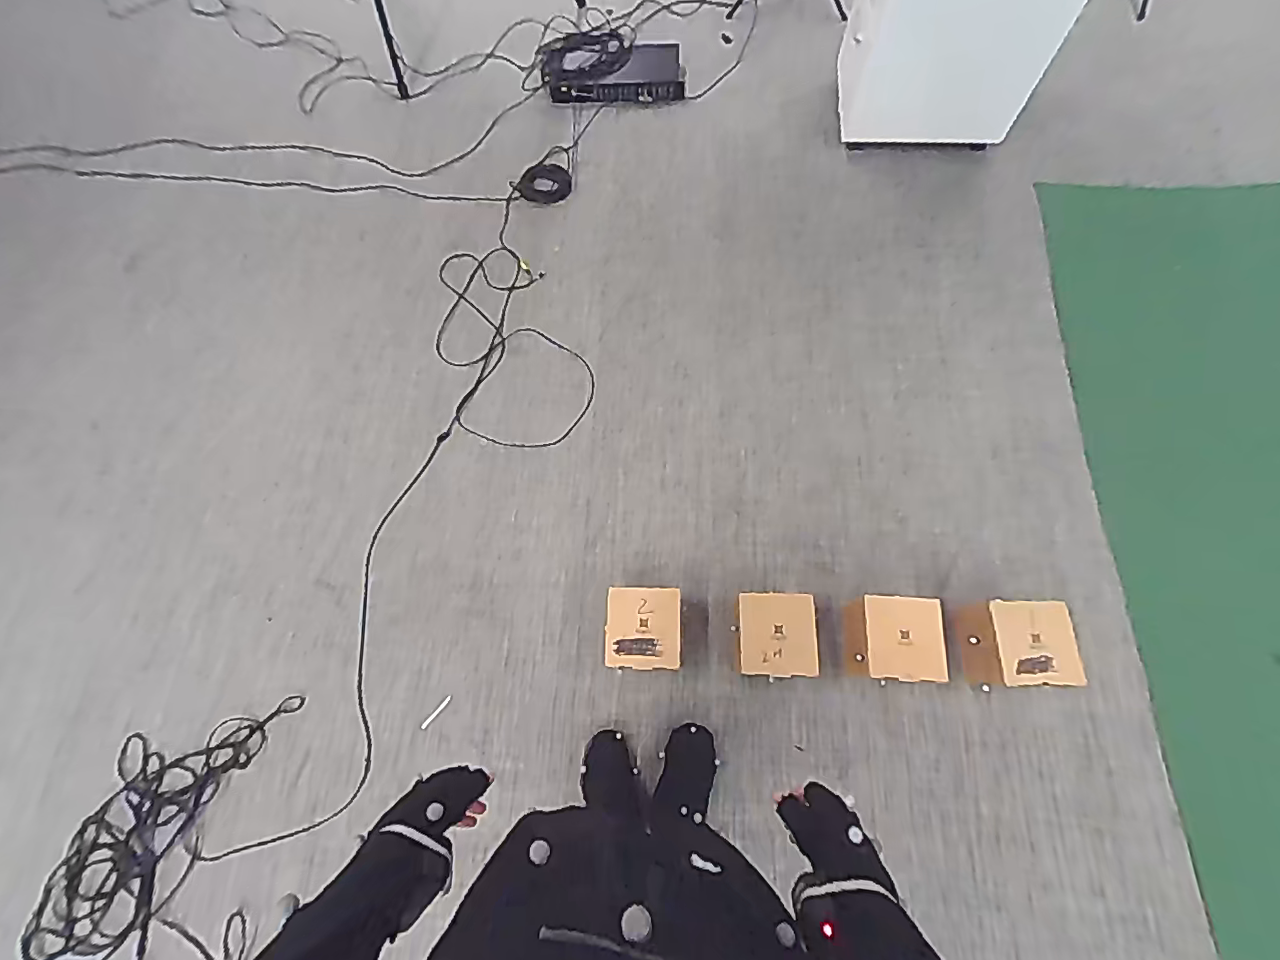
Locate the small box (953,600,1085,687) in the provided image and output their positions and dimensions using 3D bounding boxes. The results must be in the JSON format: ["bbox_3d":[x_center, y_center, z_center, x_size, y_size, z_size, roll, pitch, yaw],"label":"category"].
[{"bbox_3d":[0.839,0.369,1.216,0.168,0.176,0.179,0,70,3],"label":"small box"}]

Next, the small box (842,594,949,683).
[{"bbox_3d":[0.571,0.363,1.233,0.168,0.176,0.179,3,71,4],"label":"small box"}]

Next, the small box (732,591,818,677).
[{"bbox_3d":[0.303,0.357,1.246,0.168,0.176,0.179,0,71,4],"label":"small box"}]
